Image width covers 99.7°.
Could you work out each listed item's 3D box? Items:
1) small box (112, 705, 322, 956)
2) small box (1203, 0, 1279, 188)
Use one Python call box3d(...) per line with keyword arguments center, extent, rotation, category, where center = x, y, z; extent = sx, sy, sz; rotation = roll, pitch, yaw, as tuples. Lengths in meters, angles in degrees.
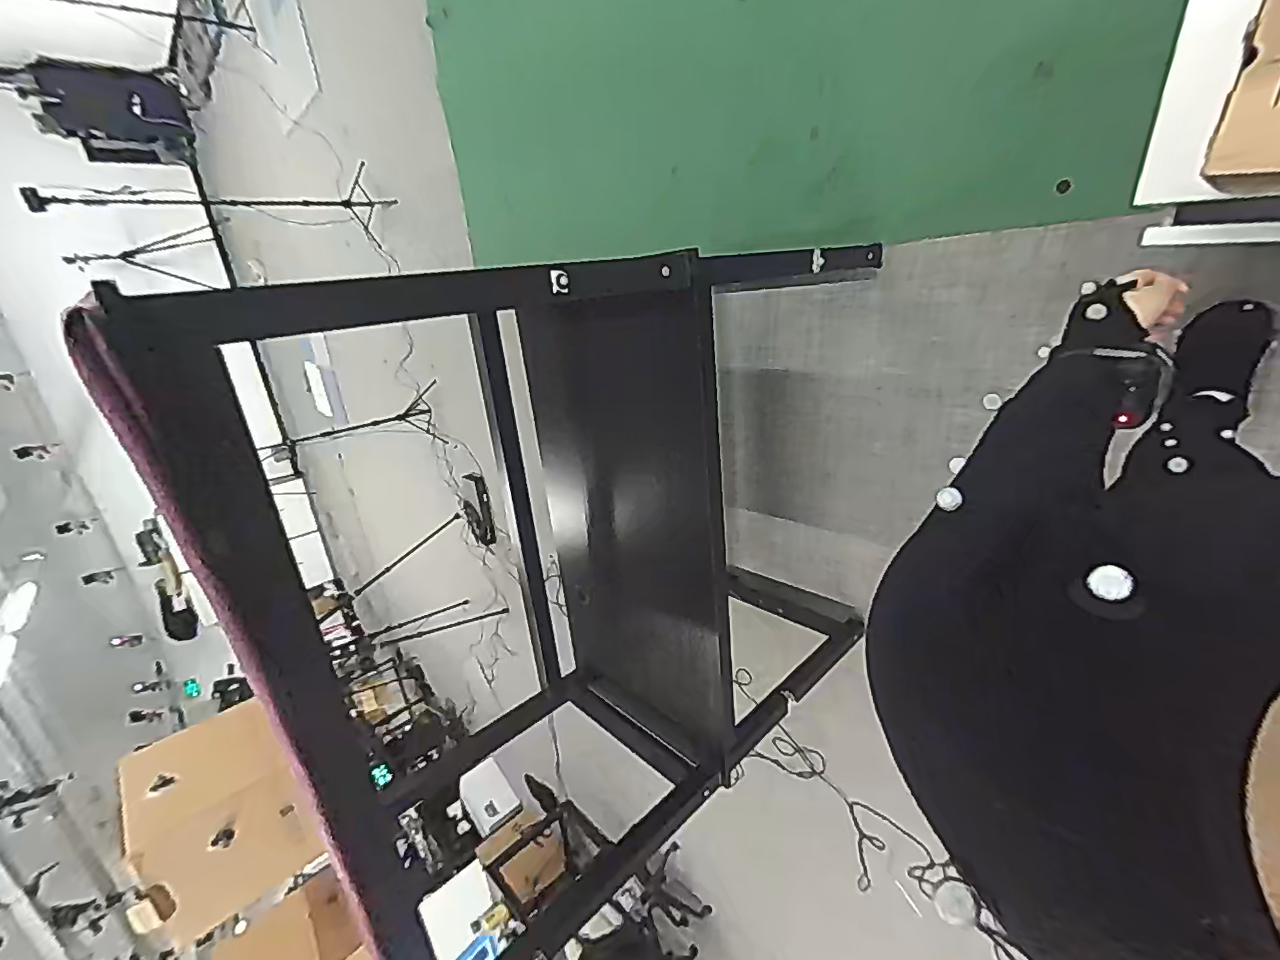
box3d(center=(-0.534, 0.429, 0.697), extent=(0.179, 0.176, 0.168), rotation=(19, 120, 45), category="small box")
box3d(center=(0.585, -0.324, 0.411), extent=(0.179, 0.176, 0.168), rotation=(22, 122, 41), category="small box")
